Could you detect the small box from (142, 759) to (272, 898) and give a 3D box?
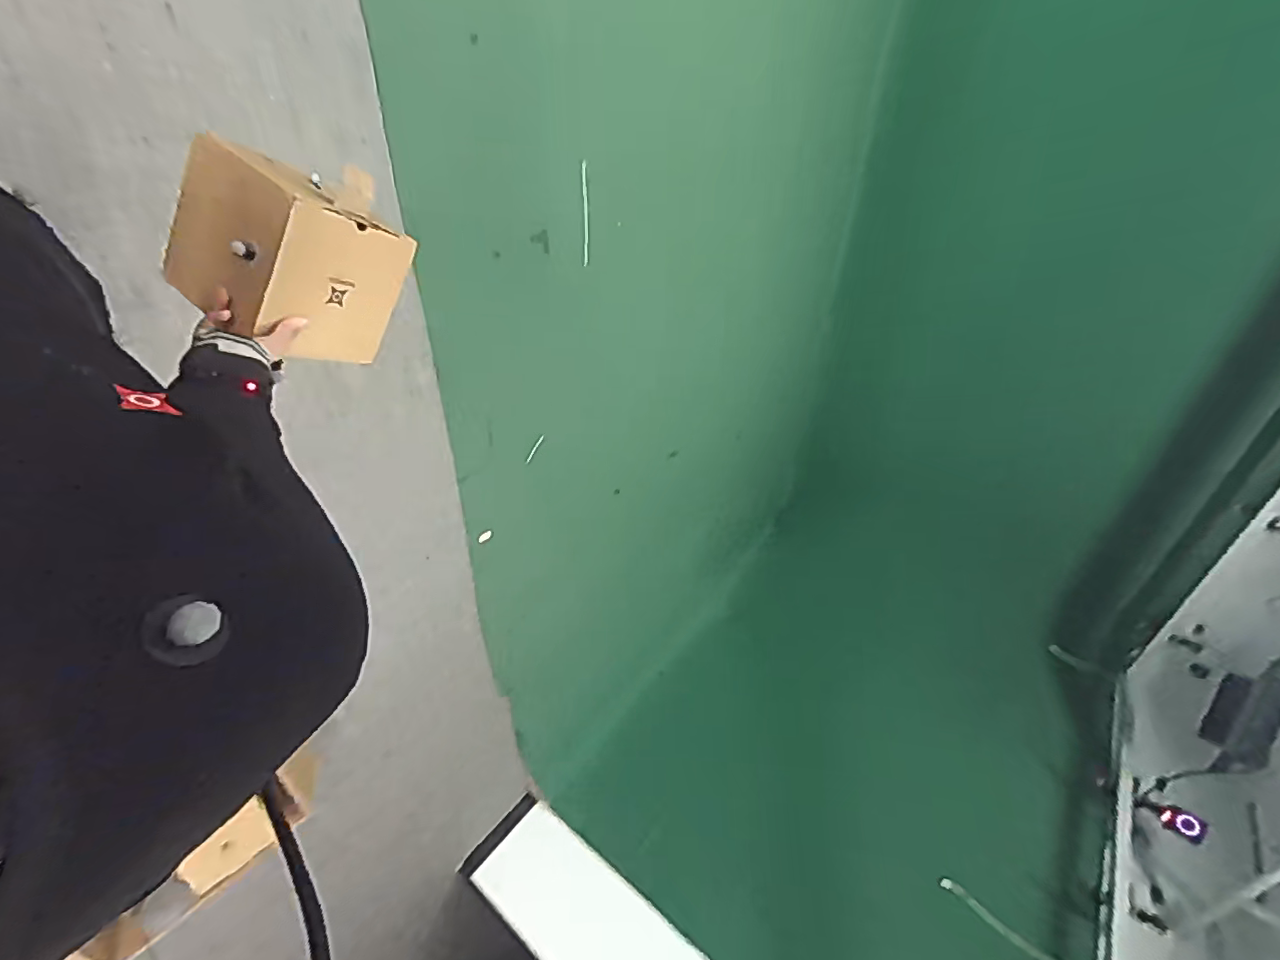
[{"bbox_3d":[-0.989,0.787,1.240,0.168,0.176,0.179,-31,133,-42],"label":"small box"}]

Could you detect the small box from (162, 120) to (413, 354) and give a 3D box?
[{"bbox_3d":[-0.415,-0.275,0.642,0.179,0.176,0.168,-60,166,17],"label":"small box"}]
